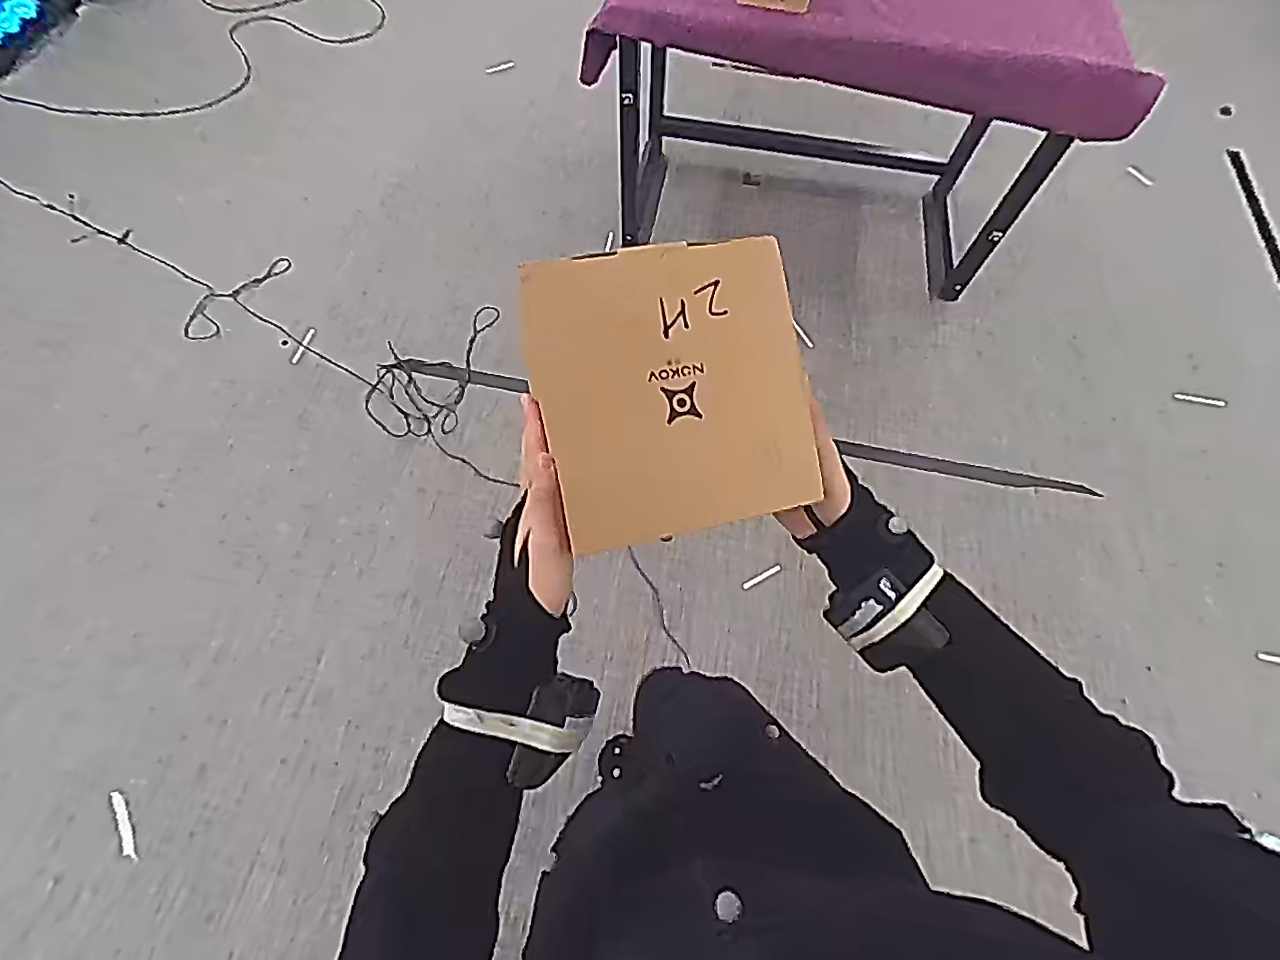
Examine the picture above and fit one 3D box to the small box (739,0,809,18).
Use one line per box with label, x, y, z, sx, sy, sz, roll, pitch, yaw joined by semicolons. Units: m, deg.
small box;0.333;-1.224;1.262;0.168;0.176;0.179;12;64;4
